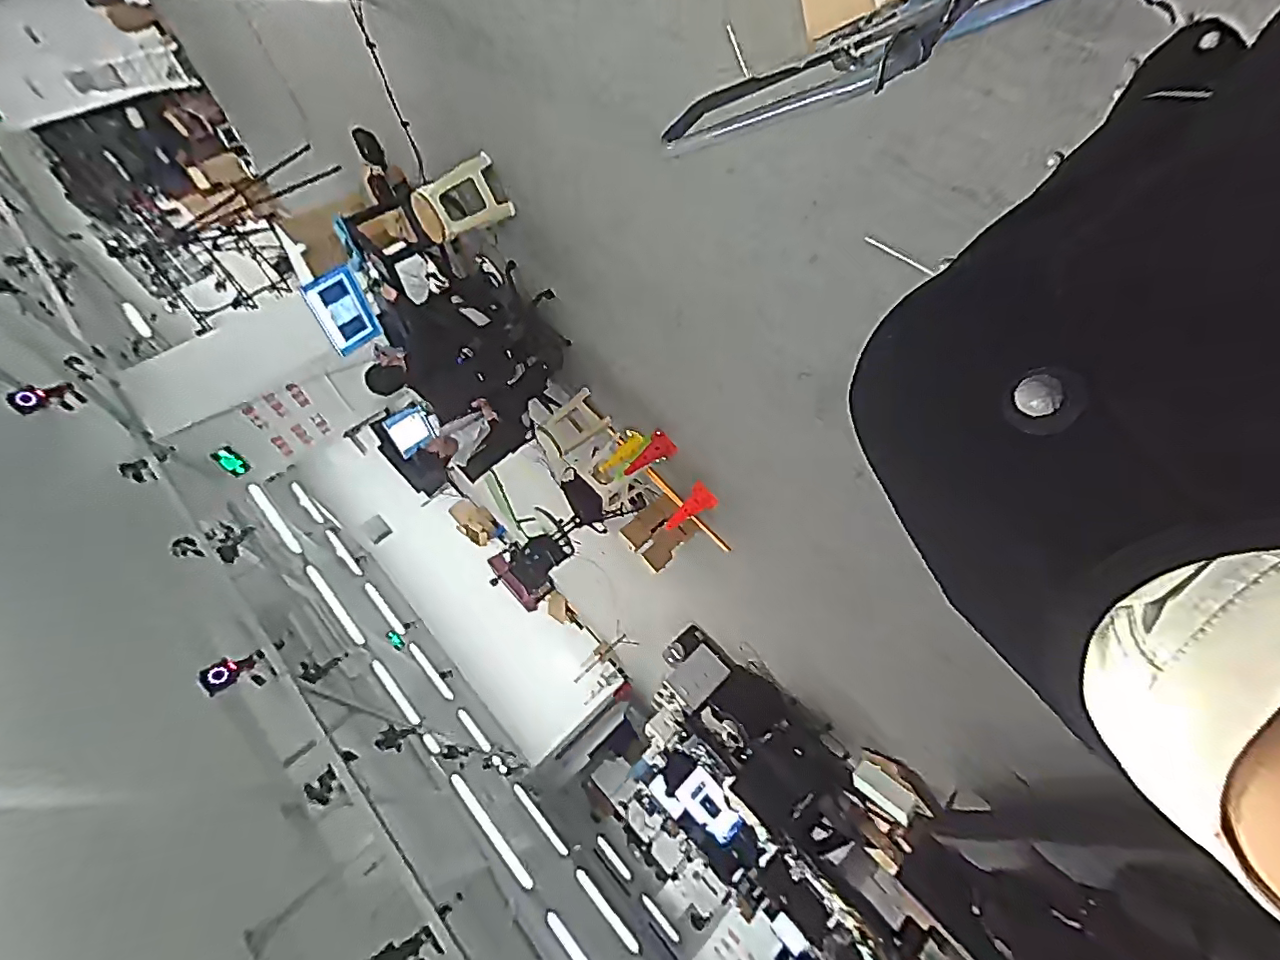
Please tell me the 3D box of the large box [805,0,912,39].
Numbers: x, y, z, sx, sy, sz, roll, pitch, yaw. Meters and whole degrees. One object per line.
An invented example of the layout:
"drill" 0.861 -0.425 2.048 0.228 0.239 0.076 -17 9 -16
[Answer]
"large box" 0.456 -1.049 0.879 0.320 0.320 0.408 20 142 51
